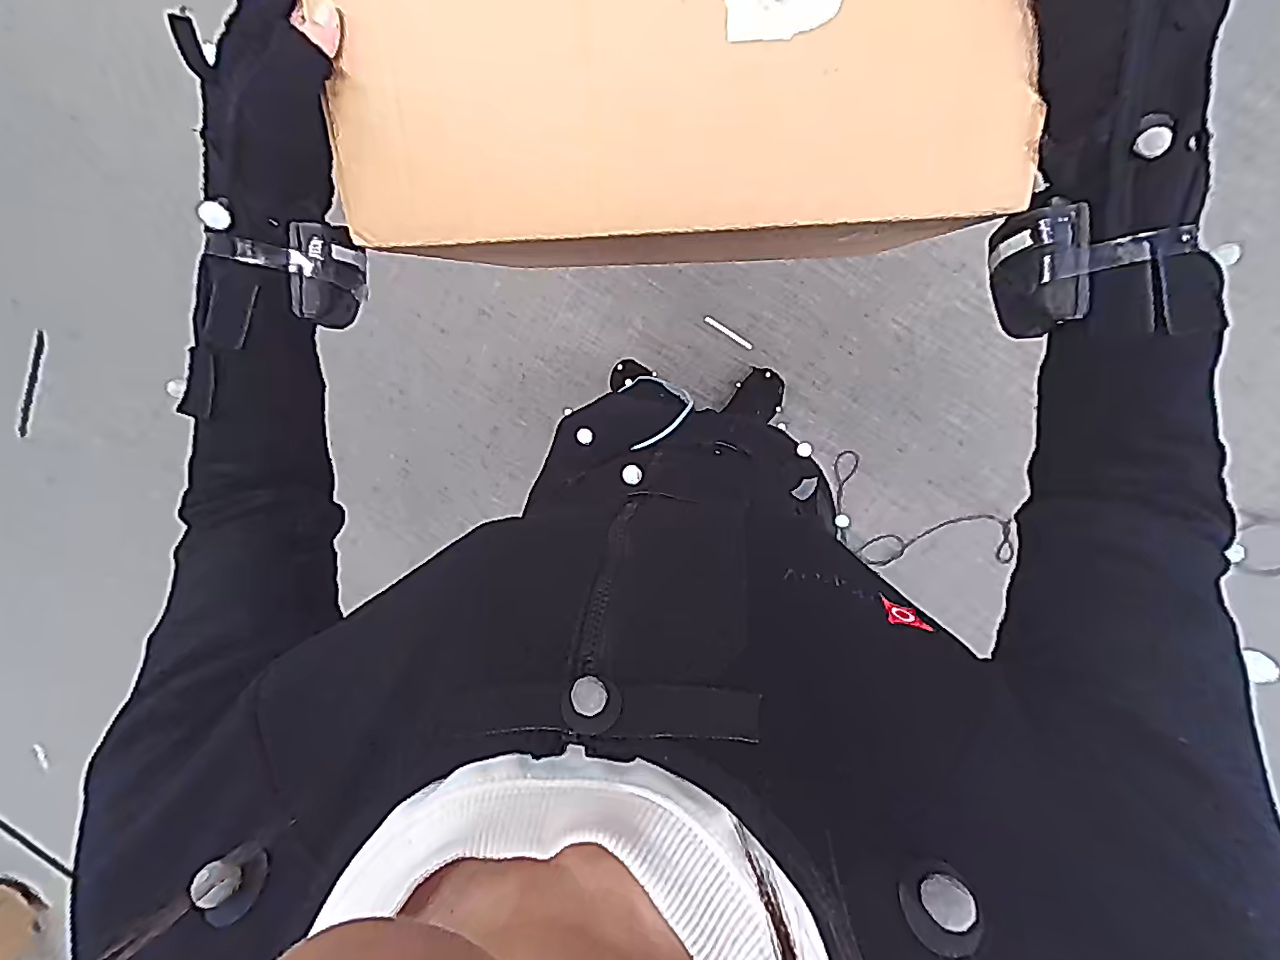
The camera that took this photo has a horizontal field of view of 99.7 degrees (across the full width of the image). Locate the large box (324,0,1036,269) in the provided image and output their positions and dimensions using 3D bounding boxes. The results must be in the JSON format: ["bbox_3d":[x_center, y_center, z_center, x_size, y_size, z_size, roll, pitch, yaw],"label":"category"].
[{"bbox_3d":[0.025,-0.354,0.430,0.408,0.320,0.320,0,109,8],"label":"large box"}]
